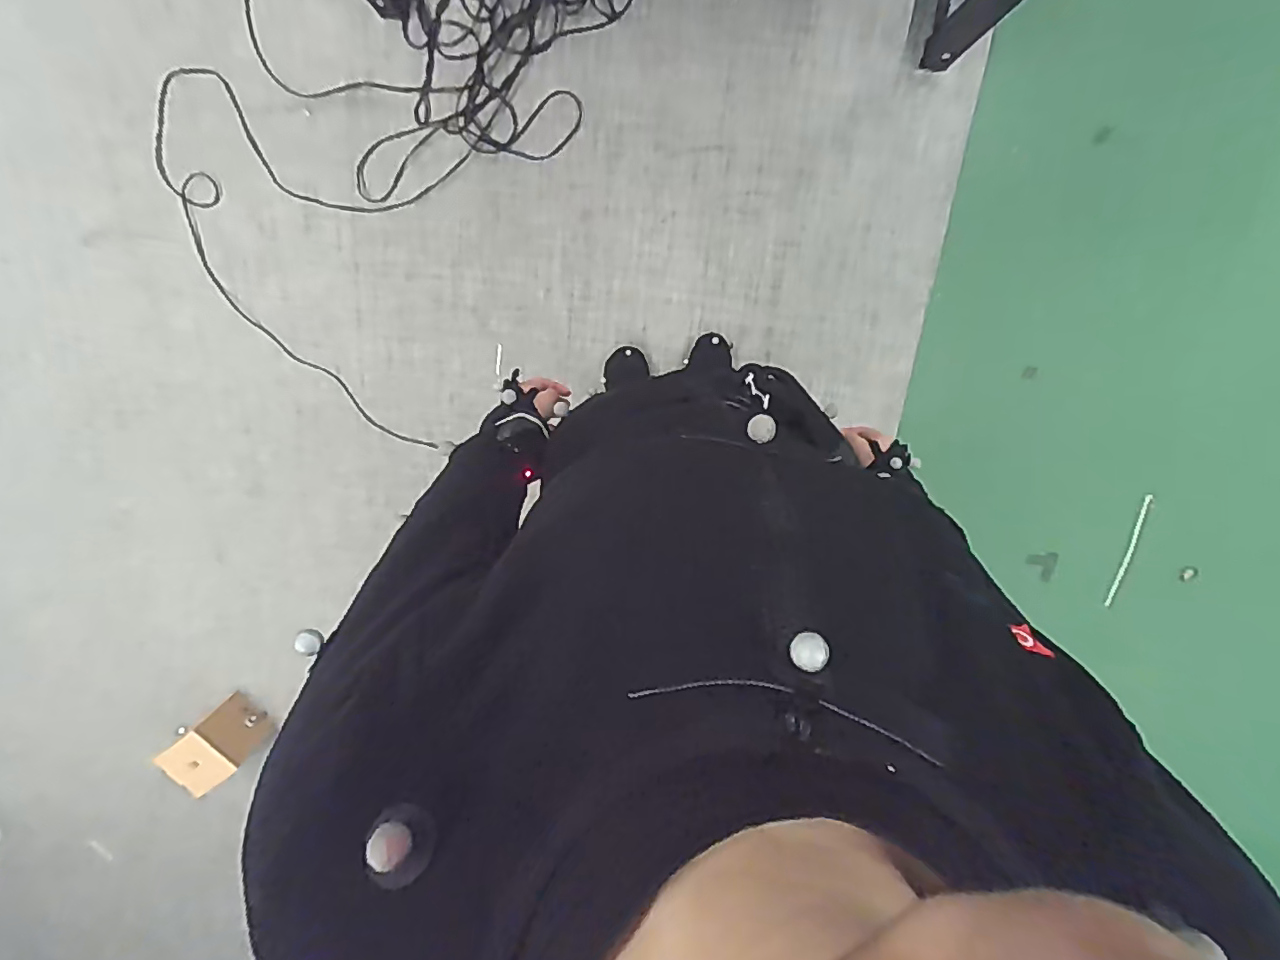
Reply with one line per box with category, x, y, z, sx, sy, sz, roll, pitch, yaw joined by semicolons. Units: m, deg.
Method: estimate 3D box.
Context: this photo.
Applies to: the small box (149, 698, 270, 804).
small box;-1.217;0.767;1.545;0.179;0.176;0.168;-37;103;10
